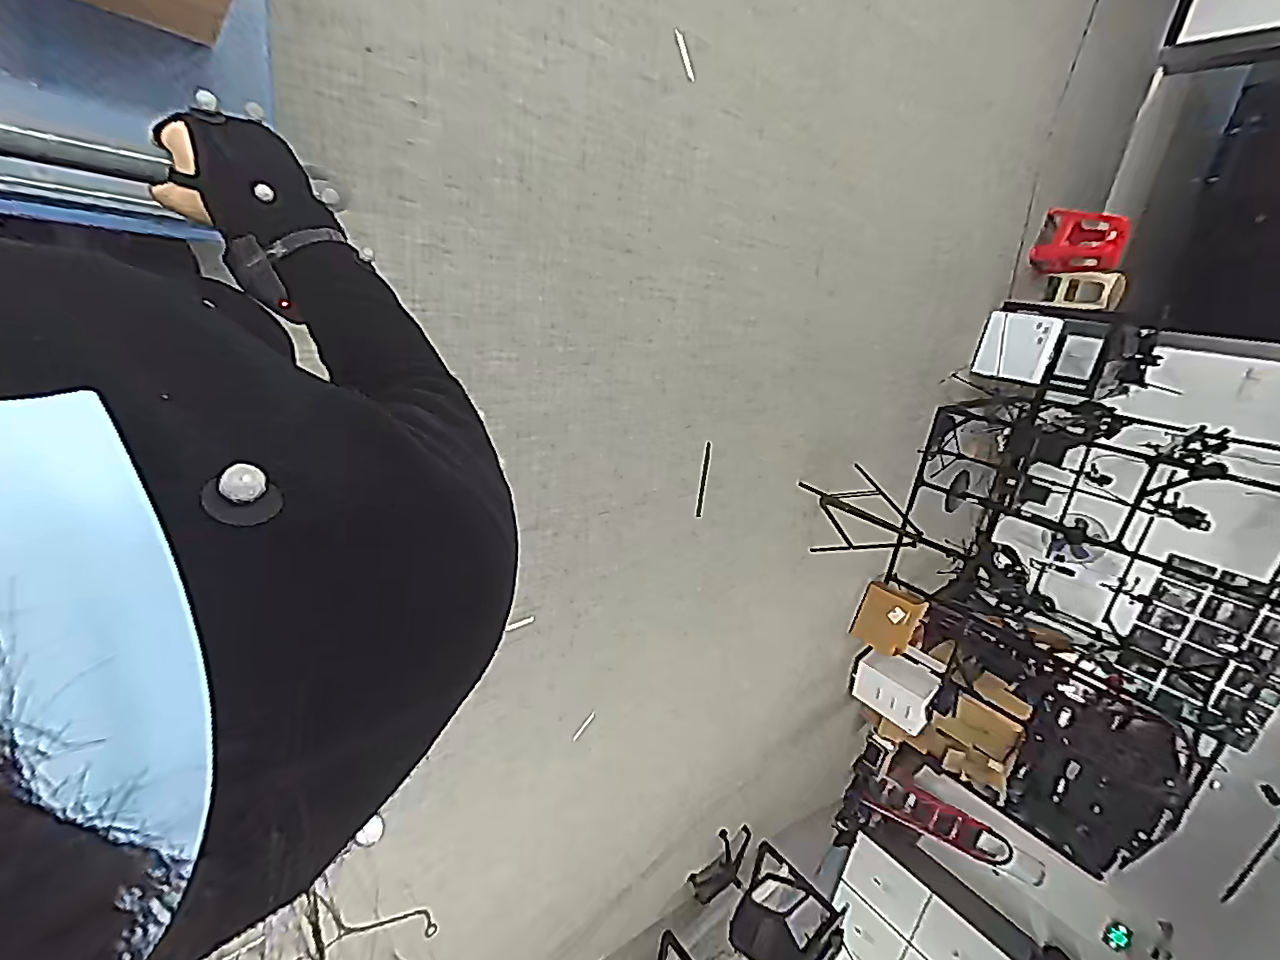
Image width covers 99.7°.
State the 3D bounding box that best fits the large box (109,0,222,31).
[{"bbox_3d":[-0.754,-0.814,0.627,0.408,0.320,0.320,-7,114,-40],"label":"large box"}]
